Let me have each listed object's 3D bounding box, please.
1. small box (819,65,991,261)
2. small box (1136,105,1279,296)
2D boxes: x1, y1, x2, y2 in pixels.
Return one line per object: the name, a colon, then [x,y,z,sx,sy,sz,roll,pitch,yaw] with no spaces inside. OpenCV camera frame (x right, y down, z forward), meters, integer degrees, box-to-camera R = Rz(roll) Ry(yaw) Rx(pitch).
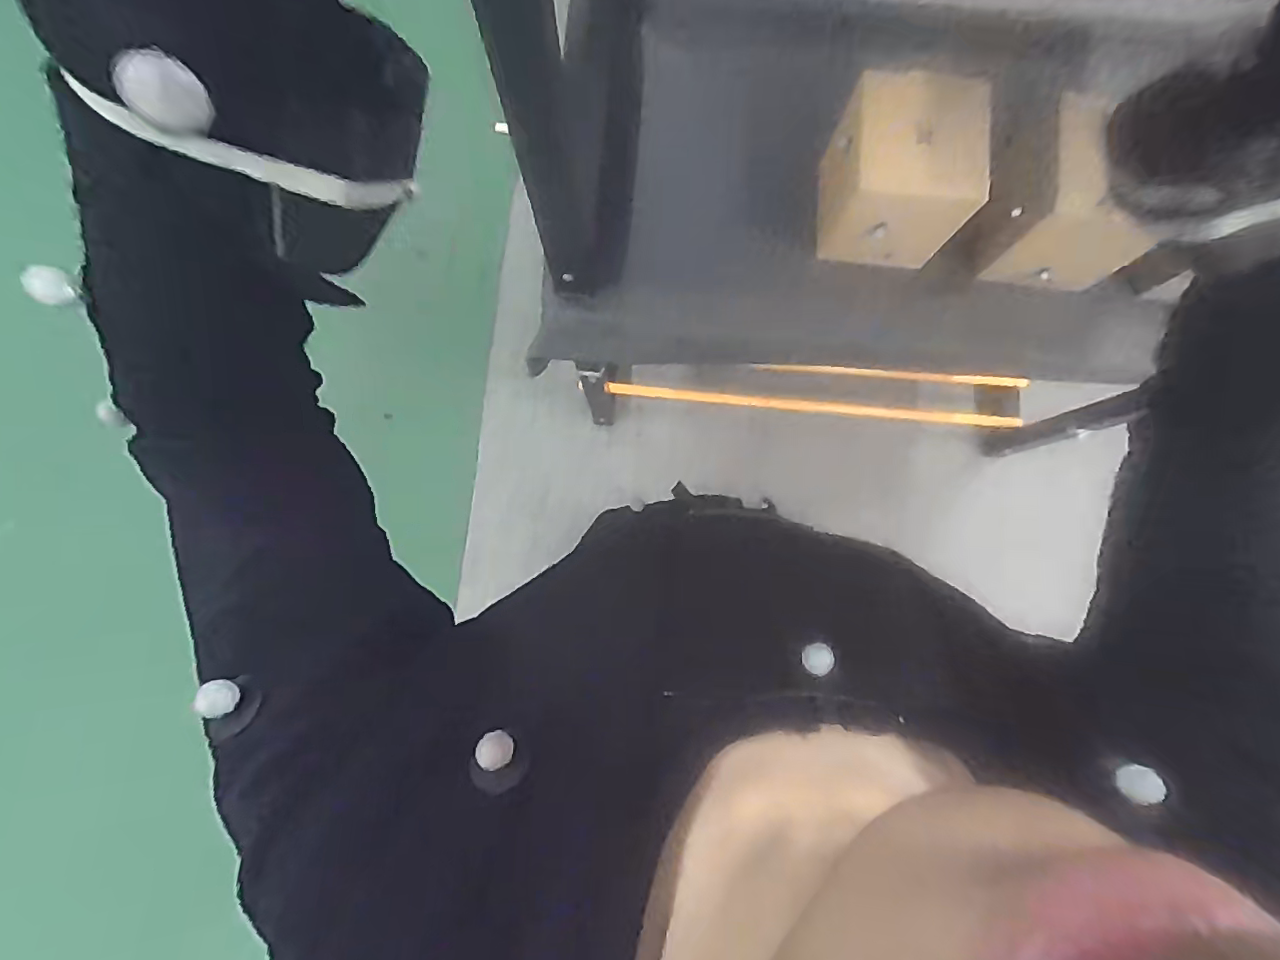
small box: [0.365,-0.438,0.771,0.168,0.176,0.179,5,81,0]
small box: [0.855,-0.380,0.761,0.168,0.176,0.179,5,81,0]
